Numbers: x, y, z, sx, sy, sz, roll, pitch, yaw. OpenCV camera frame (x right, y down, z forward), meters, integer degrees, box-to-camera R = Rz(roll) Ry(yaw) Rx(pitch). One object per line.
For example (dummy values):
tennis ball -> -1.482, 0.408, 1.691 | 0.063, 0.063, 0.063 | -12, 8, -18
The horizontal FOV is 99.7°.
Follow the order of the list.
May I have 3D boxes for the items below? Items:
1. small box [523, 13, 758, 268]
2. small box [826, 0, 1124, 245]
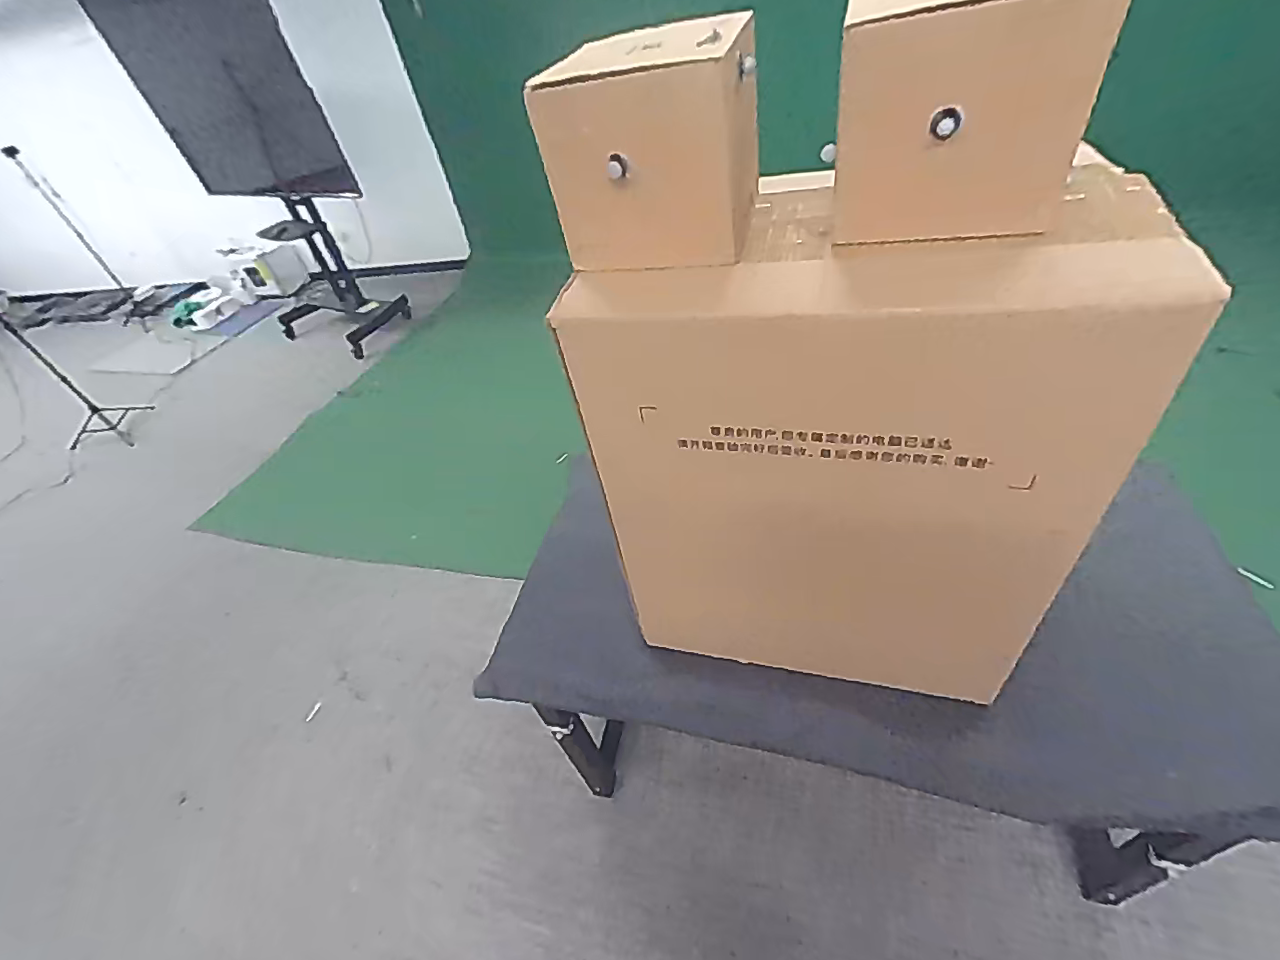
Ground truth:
small box -> 0.017, -0.328, 0.542 | 0.179, 0.176, 0.168 | 5, 50, 19
small box -> 0.265, -0.326, 0.472 | 0.179, 0.176, 0.168 | 5, 50, 20
